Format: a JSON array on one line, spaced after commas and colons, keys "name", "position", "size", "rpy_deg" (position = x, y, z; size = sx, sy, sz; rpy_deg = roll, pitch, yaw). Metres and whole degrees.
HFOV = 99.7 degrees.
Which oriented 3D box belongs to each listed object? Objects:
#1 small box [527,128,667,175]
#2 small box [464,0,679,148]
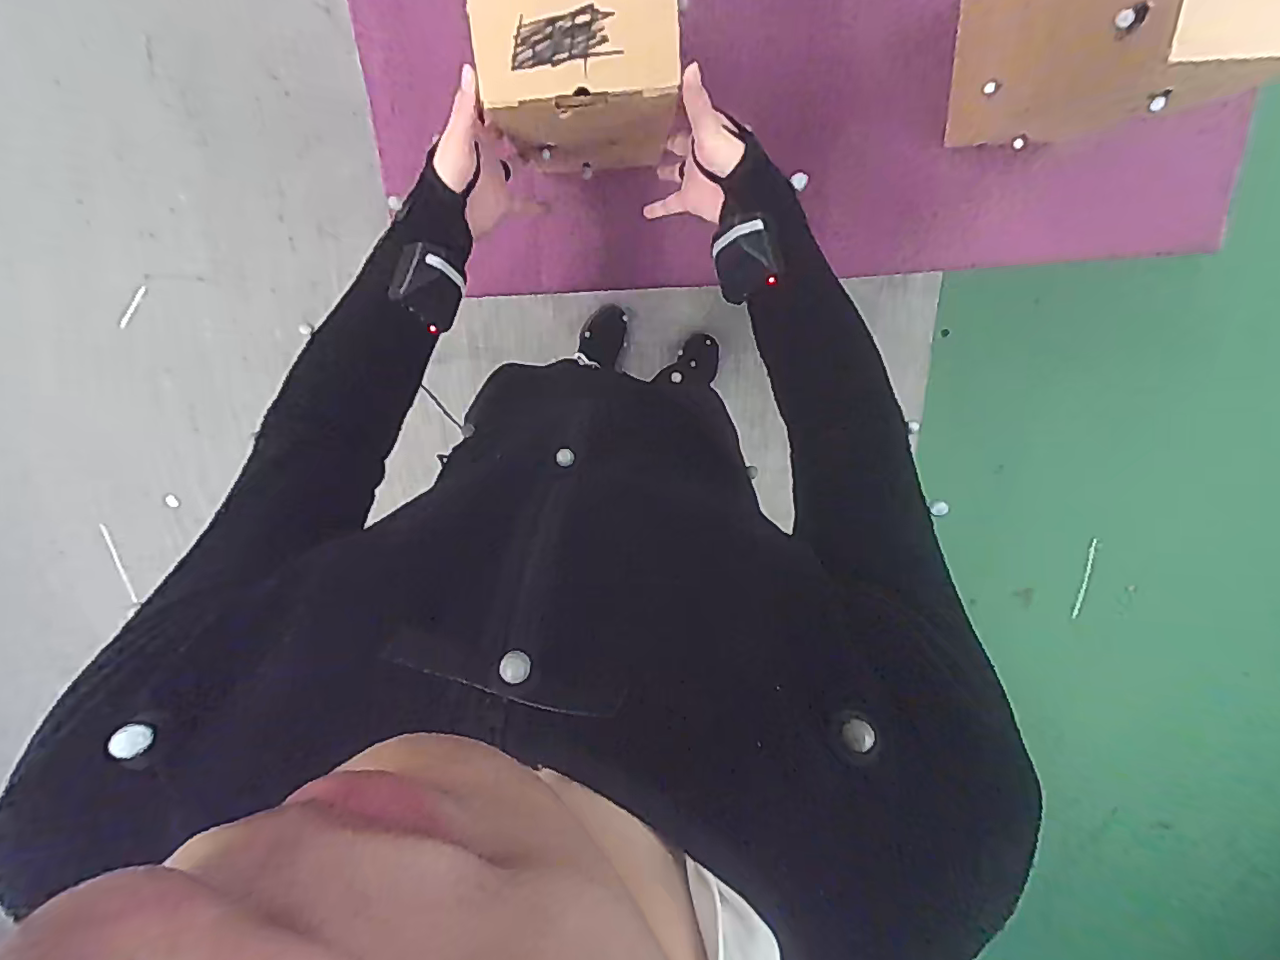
[{"name": "small box", "position": [-0.060, -0.475, 0.632], "size": [0.168, 0.176, 0.179], "rpy_deg": [-4, 110, -1]}, {"name": "small box", "position": [-0.056, -0.412, 0.480], "size": [0.168, 0.176, 0.179], "rpy_deg": [-4, 108, -1]}]
